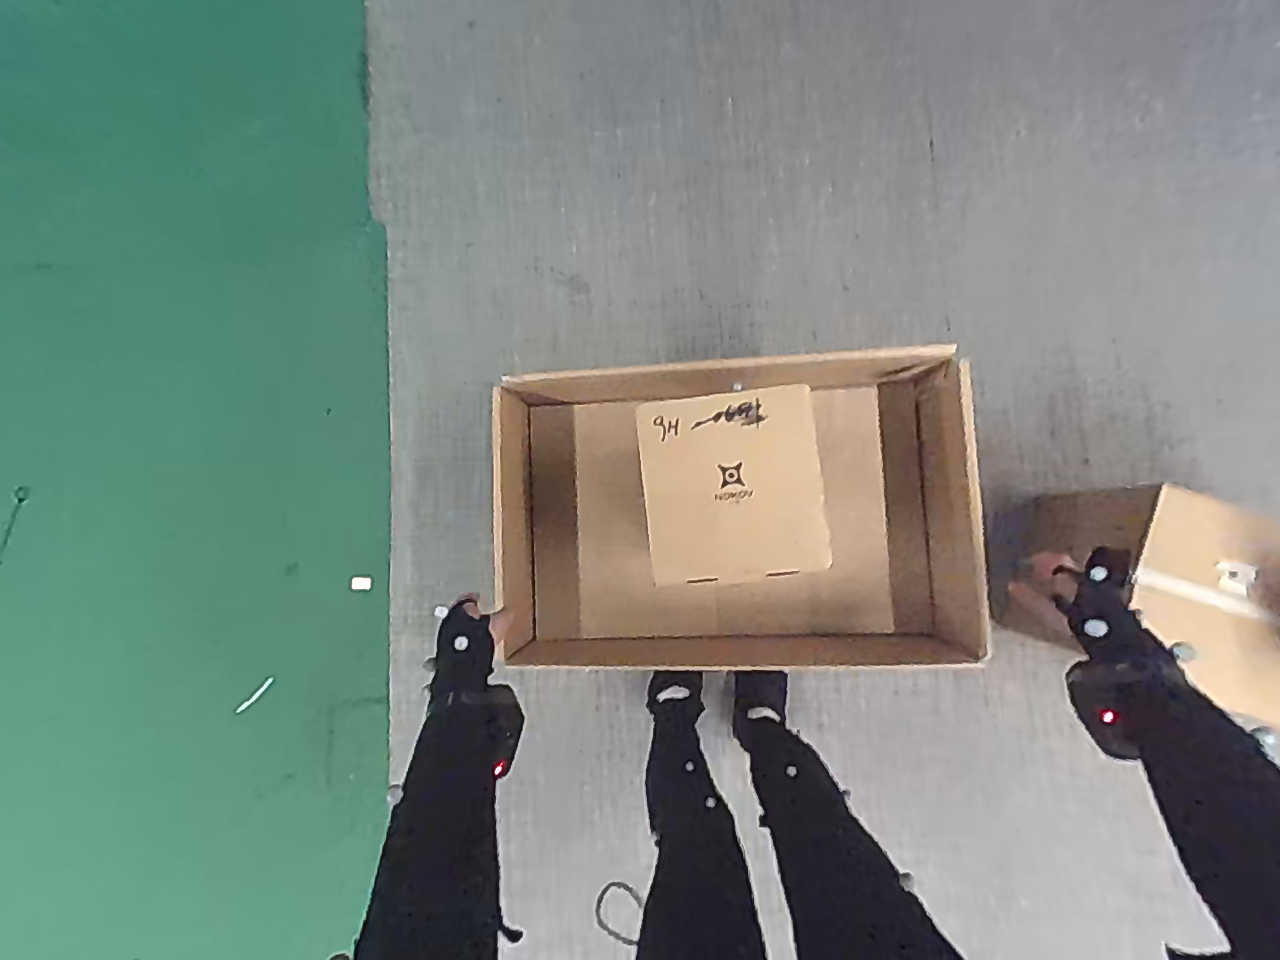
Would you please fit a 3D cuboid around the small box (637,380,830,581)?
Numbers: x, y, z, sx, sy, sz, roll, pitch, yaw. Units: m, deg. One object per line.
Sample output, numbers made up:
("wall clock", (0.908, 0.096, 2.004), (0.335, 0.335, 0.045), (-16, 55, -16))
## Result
("small box", (0.093, 0.004, 0.580), (0.168, 0.176, 0.179), (-6, 86, 5))
